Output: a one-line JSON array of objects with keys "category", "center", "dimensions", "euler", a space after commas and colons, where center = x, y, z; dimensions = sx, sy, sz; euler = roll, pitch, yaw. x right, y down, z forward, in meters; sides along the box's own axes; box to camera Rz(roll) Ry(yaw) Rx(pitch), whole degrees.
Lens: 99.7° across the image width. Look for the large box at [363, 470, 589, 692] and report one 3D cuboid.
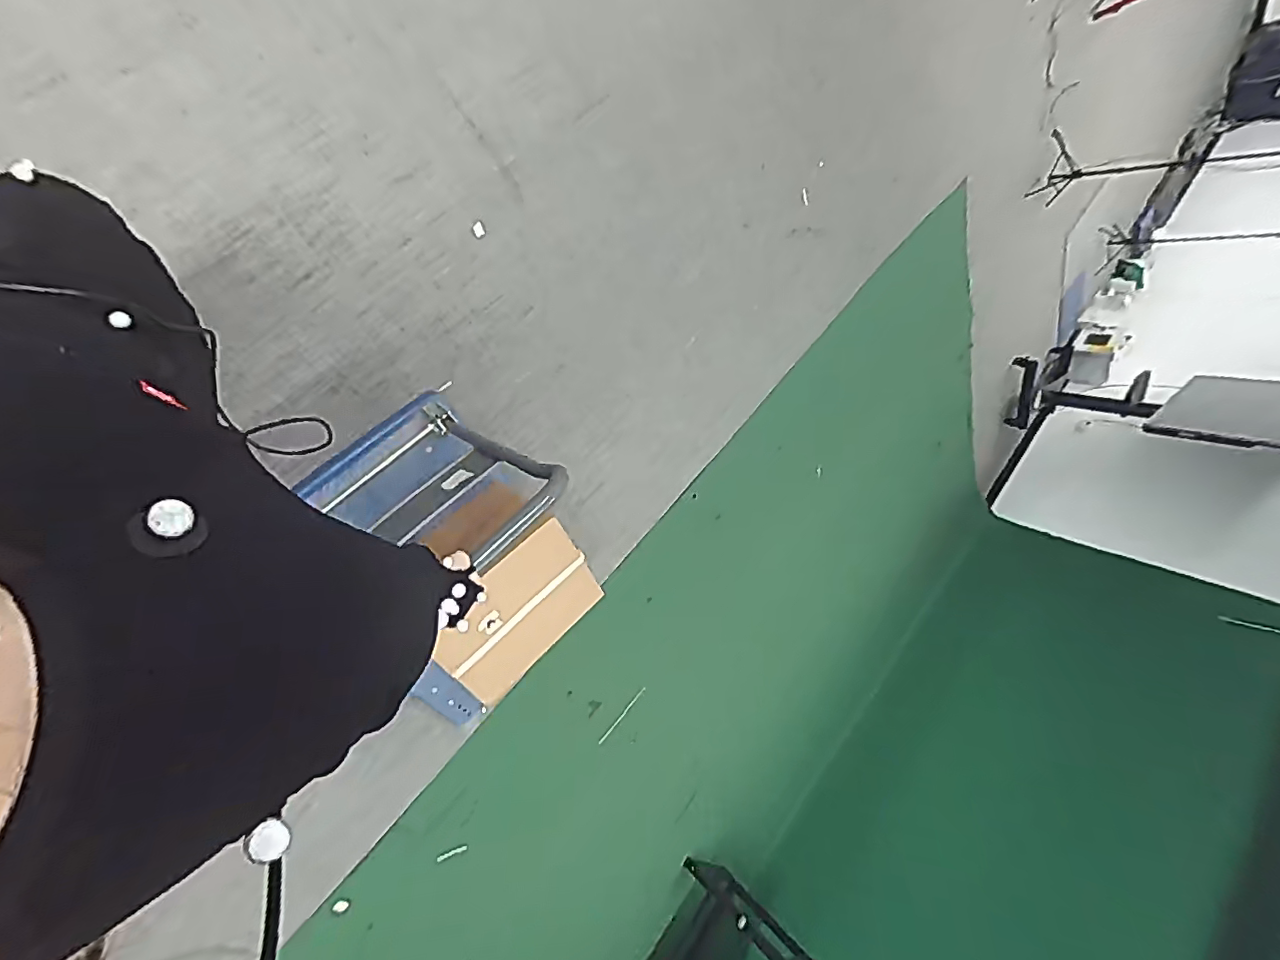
[{"category": "large box", "center": [-0.415, 0.243, 1.403], "dimensions": [0.408, 0.320, 0.320], "euler": [-41, 129, -21]}]
